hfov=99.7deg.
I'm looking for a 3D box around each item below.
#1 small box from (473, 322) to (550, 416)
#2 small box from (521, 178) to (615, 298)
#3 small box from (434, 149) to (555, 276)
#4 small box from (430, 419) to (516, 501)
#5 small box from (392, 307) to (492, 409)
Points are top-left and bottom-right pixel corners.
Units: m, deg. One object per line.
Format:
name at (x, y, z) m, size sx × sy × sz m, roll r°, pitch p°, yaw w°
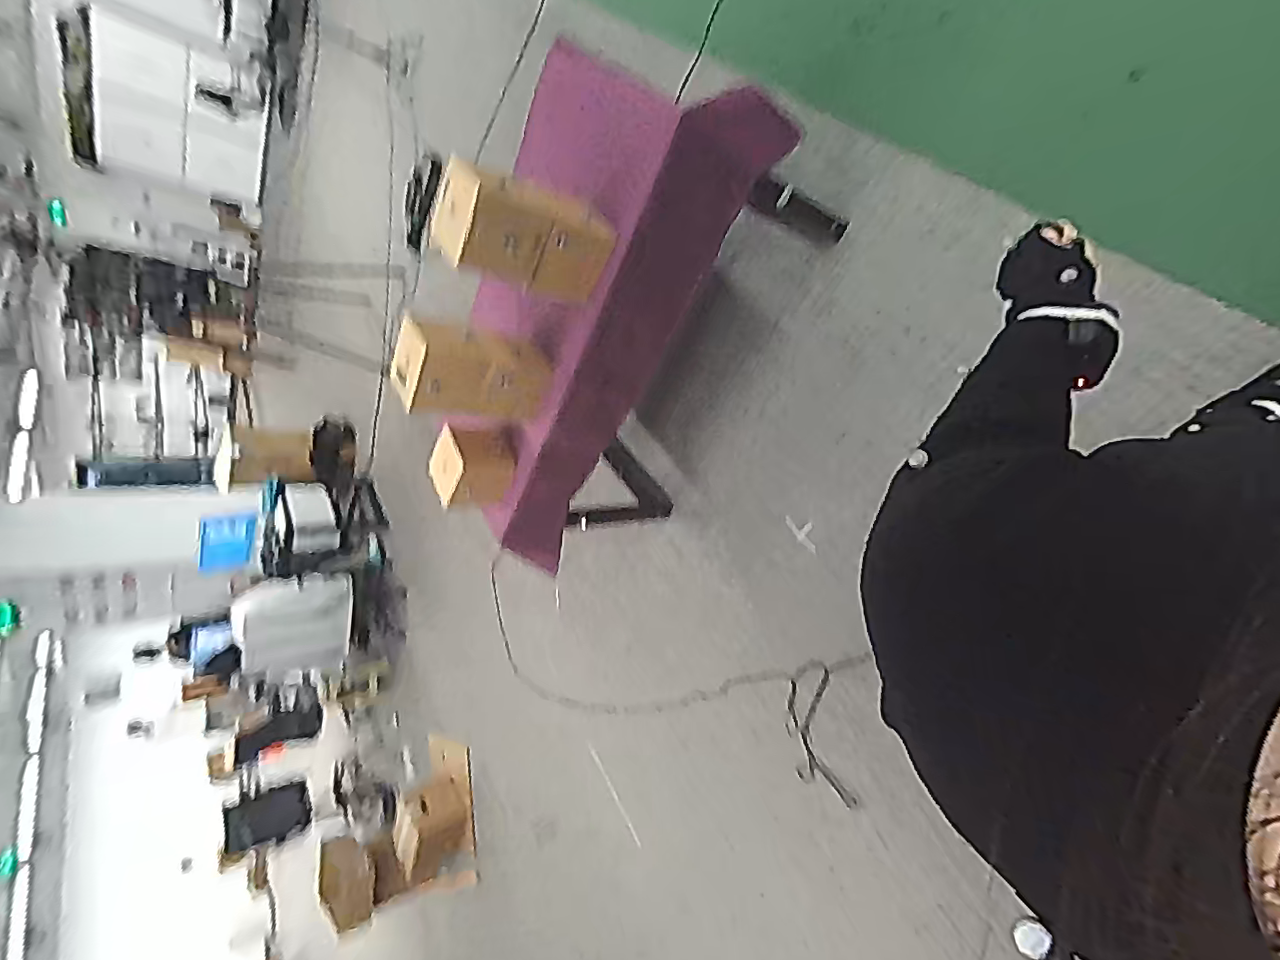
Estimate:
small box at (-0.360, -0.288, 1.436) m, size 0.168 × 0.176 × 0.179 m, roll 55°, pitch 127°, yaw 32°
small box at (-0.186, -0.549, 1.248) m, size 0.179 × 0.176 × 0.168 m, roll -54°, pitch 54°, yaw 32°
small box at (-0.305, -0.550, 1.134) m, size 0.179 × 0.176 × 0.168 m, roll 54°, pitch 126°, yaw 31°
small box at (-0.486, -0.055, 1.577) m, size 0.179 × 0.176 × 0.168 m, roll -53°, pitch 55°, yaw 33°
small box at (-0.484, -0.292, 1.327) m, size 0.168 × 0.176 × 0.179 m, roll 51°, pitch 124°, yaw 33°
